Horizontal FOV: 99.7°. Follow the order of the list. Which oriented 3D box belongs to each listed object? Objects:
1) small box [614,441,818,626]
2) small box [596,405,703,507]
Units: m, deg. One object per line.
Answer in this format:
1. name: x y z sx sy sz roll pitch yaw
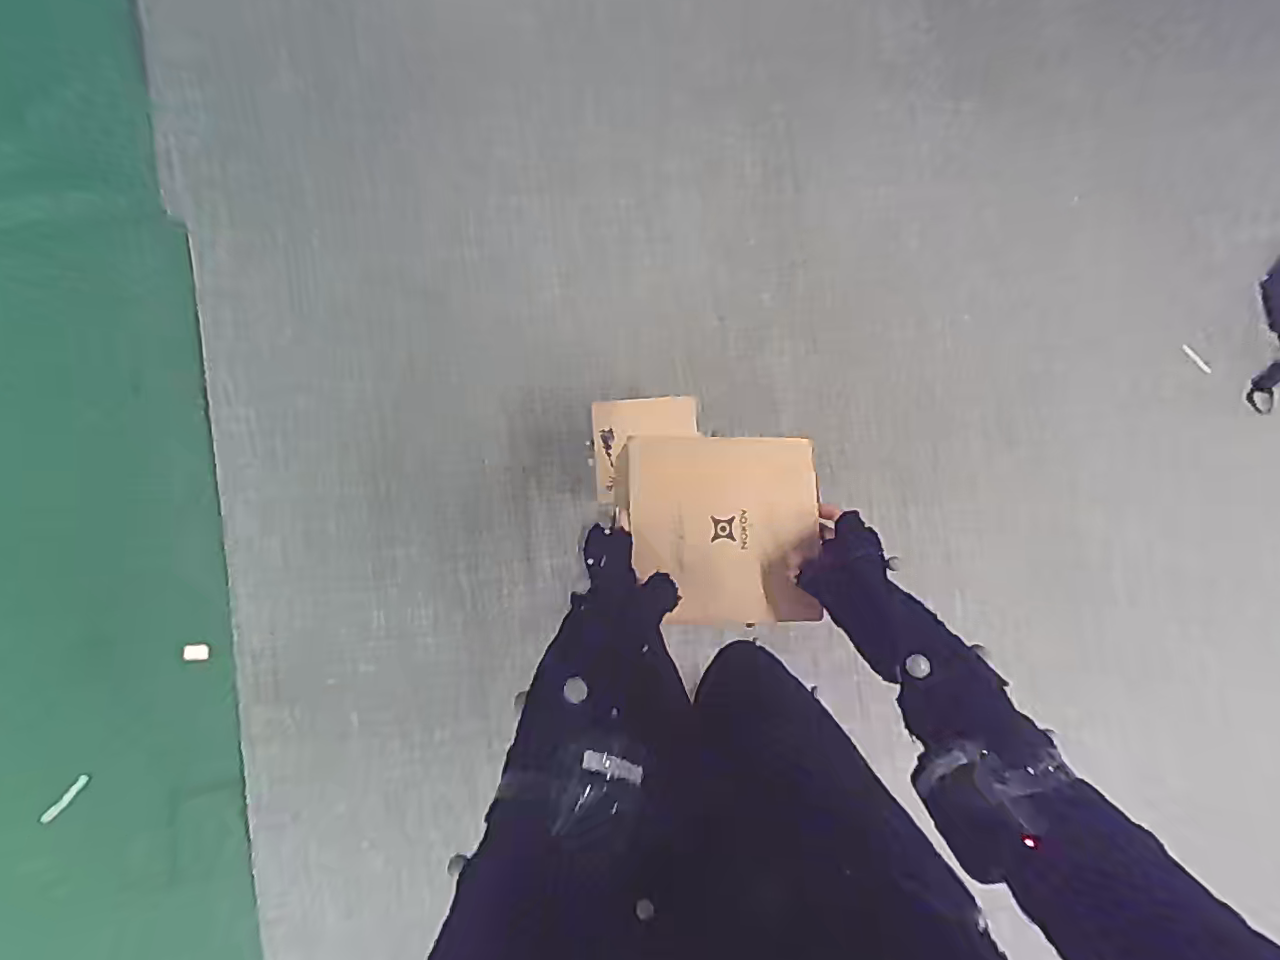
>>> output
1. small box: 0.066 0.054 0.565 0.179 0.176 0.168 0 84 -6
2. small box: 0.013 -0.041 0.969 0.179 0.176 0.168 -3 89 -5
